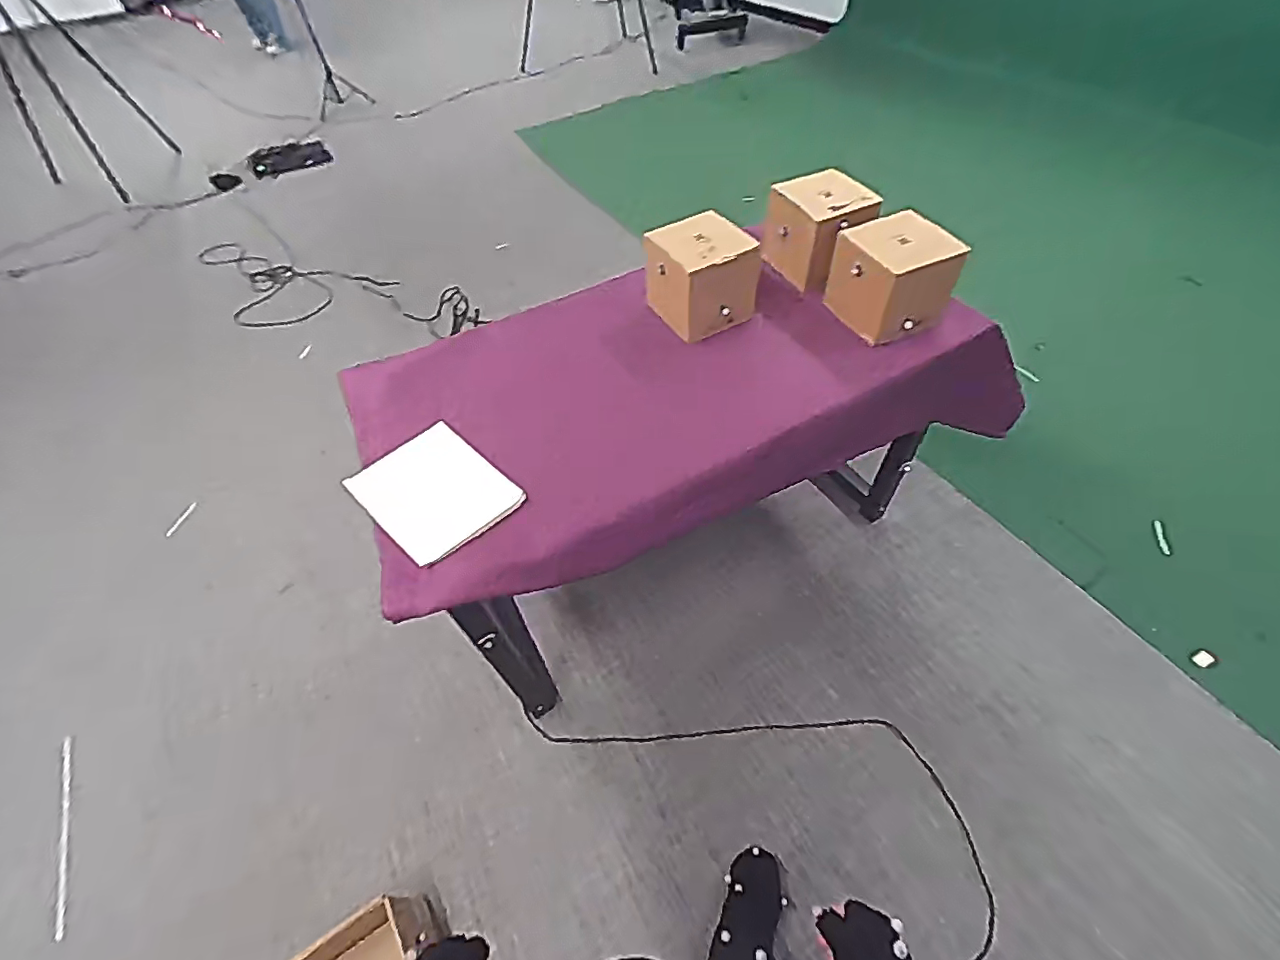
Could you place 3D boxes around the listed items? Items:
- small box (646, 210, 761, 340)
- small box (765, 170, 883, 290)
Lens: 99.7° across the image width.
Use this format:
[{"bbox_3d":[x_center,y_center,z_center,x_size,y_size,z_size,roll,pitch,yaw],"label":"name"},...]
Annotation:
[{"bbox_3d":[0.124,-0.421,1.120,0.168,0.176,0.179,-26,56,-15],"label":"small box"},{"bbox_3d":[0.396,-0.553,1.202,0.168,0.176,0.179,-22,54,-12],"label":"small box"}]
